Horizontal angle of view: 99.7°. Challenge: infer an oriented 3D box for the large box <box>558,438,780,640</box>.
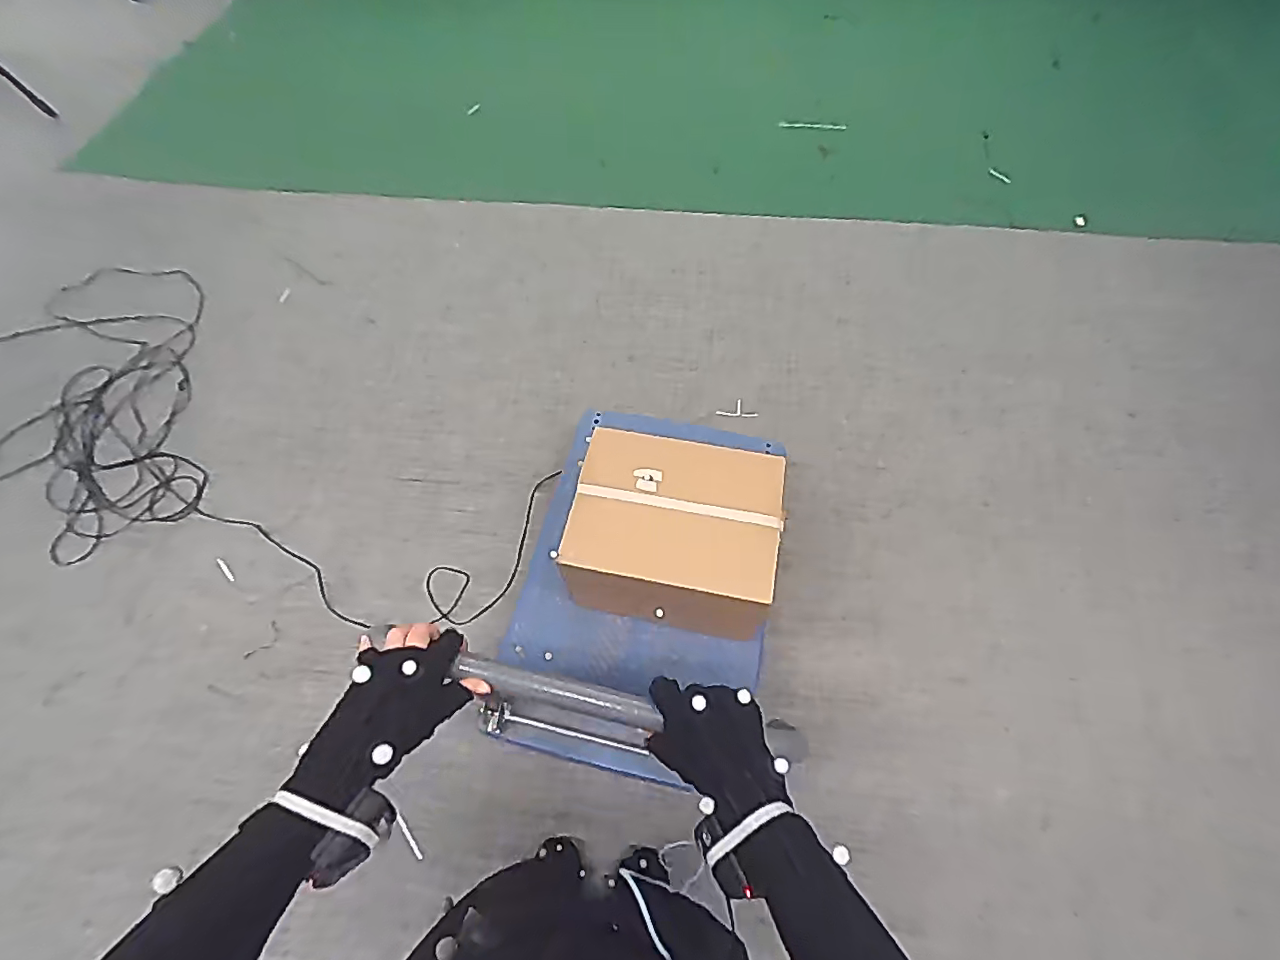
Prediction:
[{"bbox_3d":[0.075,0.139,1.198,0.408,0.320,0.320,9,61,8],"label":"large box"}]
